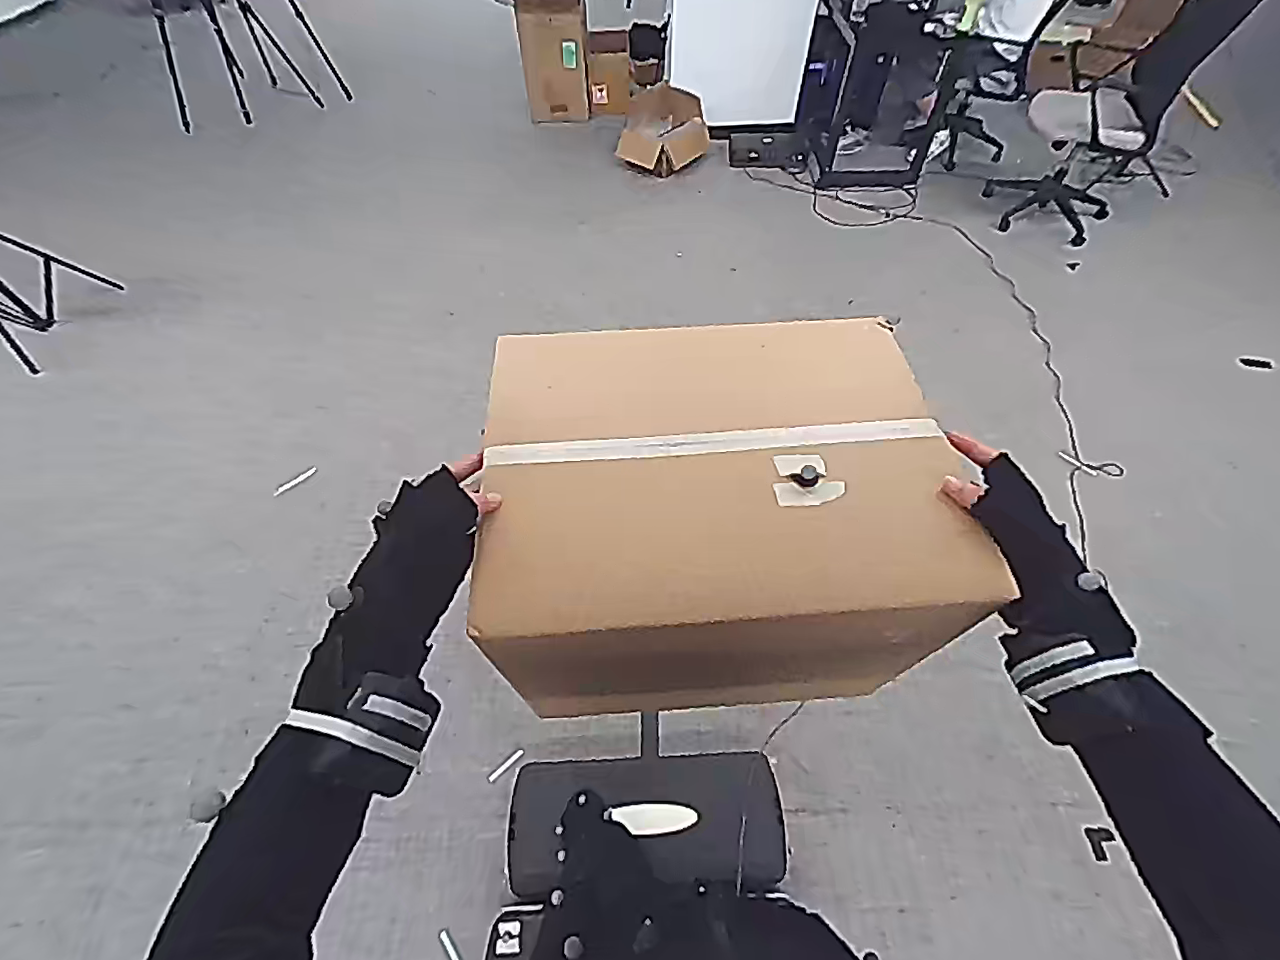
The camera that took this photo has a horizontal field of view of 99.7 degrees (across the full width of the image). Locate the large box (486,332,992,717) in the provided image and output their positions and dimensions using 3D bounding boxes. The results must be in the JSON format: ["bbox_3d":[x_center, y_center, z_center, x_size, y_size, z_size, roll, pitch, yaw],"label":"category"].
[{"bbox_3d":[0.066,0.061,0.617,0.408,0.320,0.320,-3,57,-3],"label":"large box"}]

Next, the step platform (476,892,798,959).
[{"bbox_3d":[-0.005,1.066,1.137,0.684,0.204,0.286,-4,54,0],"label":"step platform"}]
